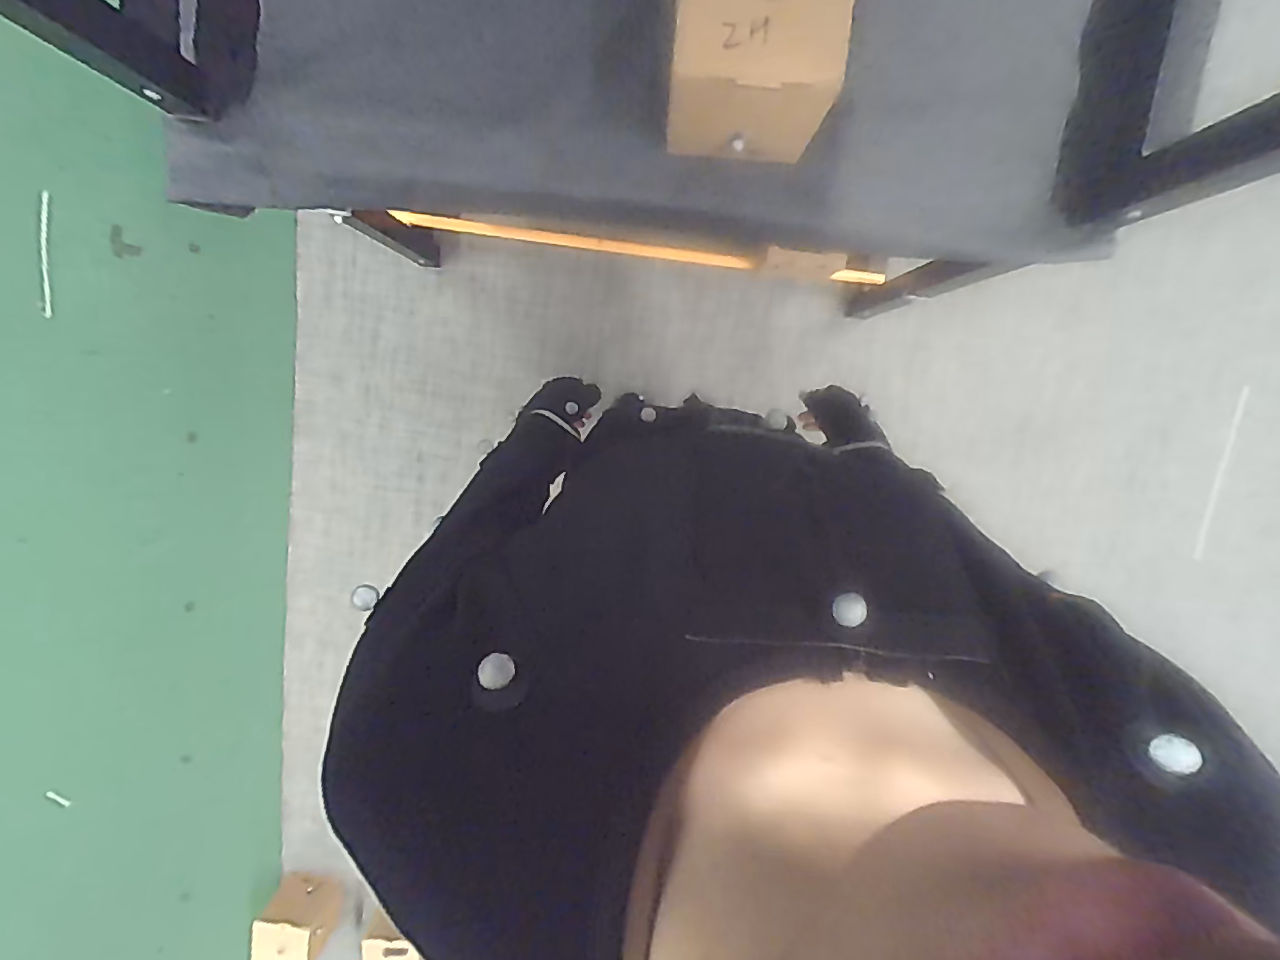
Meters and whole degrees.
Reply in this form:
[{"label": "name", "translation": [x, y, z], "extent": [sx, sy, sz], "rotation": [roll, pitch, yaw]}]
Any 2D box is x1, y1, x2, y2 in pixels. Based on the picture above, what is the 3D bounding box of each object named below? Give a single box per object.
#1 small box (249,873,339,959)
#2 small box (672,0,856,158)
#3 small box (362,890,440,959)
[{"label": "small box", "translation": [-1.034, 1.338, 1.626], "extent": [0.168, 0.176, 0.179], "rotation": [9, 98, -1]}, {"label": "small box", "translation": [0.125, -0.486, 0.587], "extent": [0.168, 0.176, 0.179], "rotation": [5, 98, 0]}, {"label": "small box", "translation": [-0.713, 1.381, 1.627], "extent": [0.168, 0.176, 0.179], "rotation": [3, 99, 0]}]
